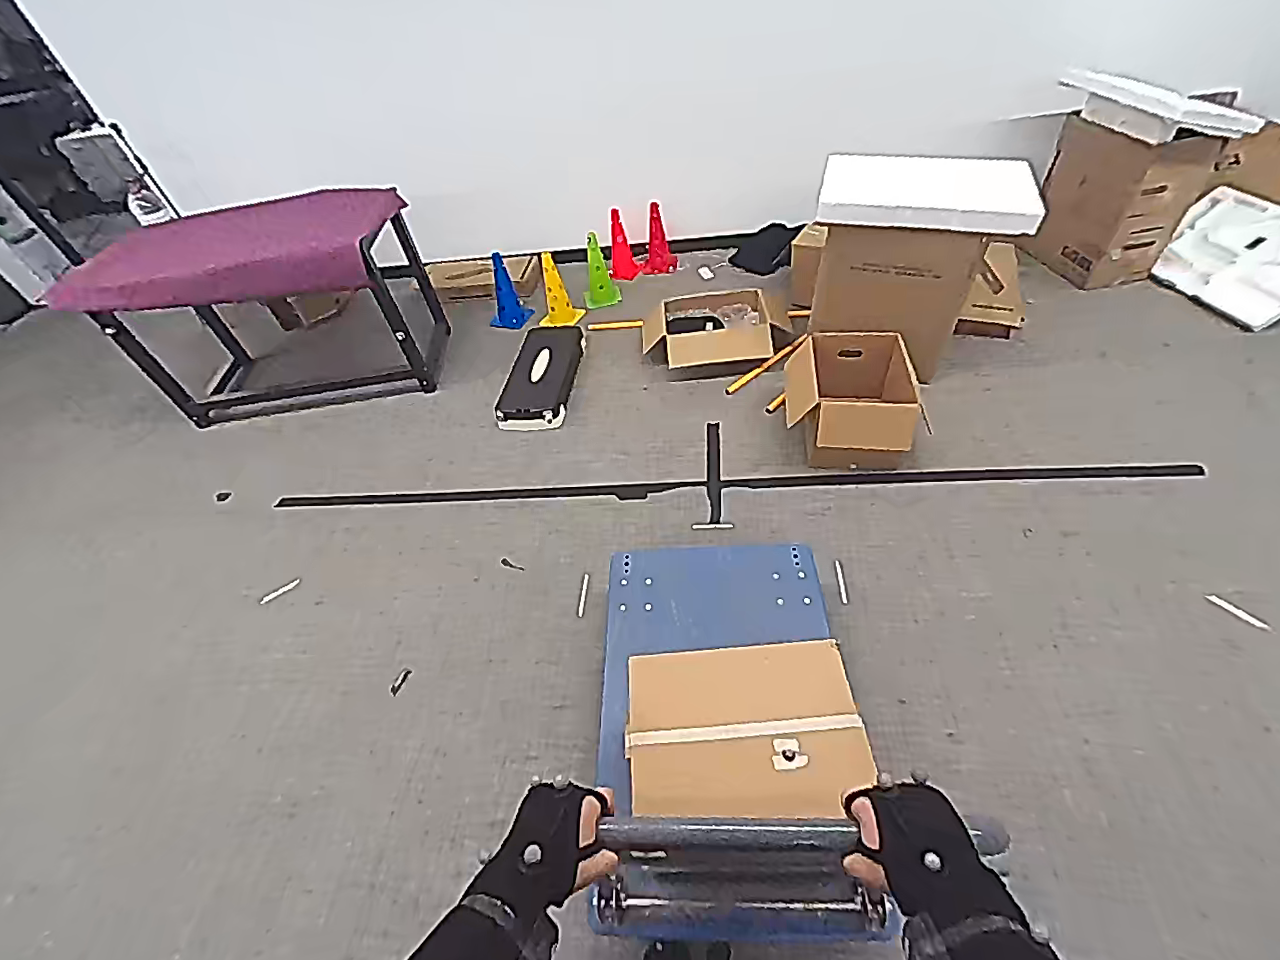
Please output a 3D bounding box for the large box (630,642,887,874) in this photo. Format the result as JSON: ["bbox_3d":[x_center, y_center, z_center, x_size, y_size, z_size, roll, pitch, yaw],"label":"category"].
[{"bbox_3d":[0.199,0.551,1.065,0.408,0.320,0.320,-6,47,2],"label":"large box"}]
